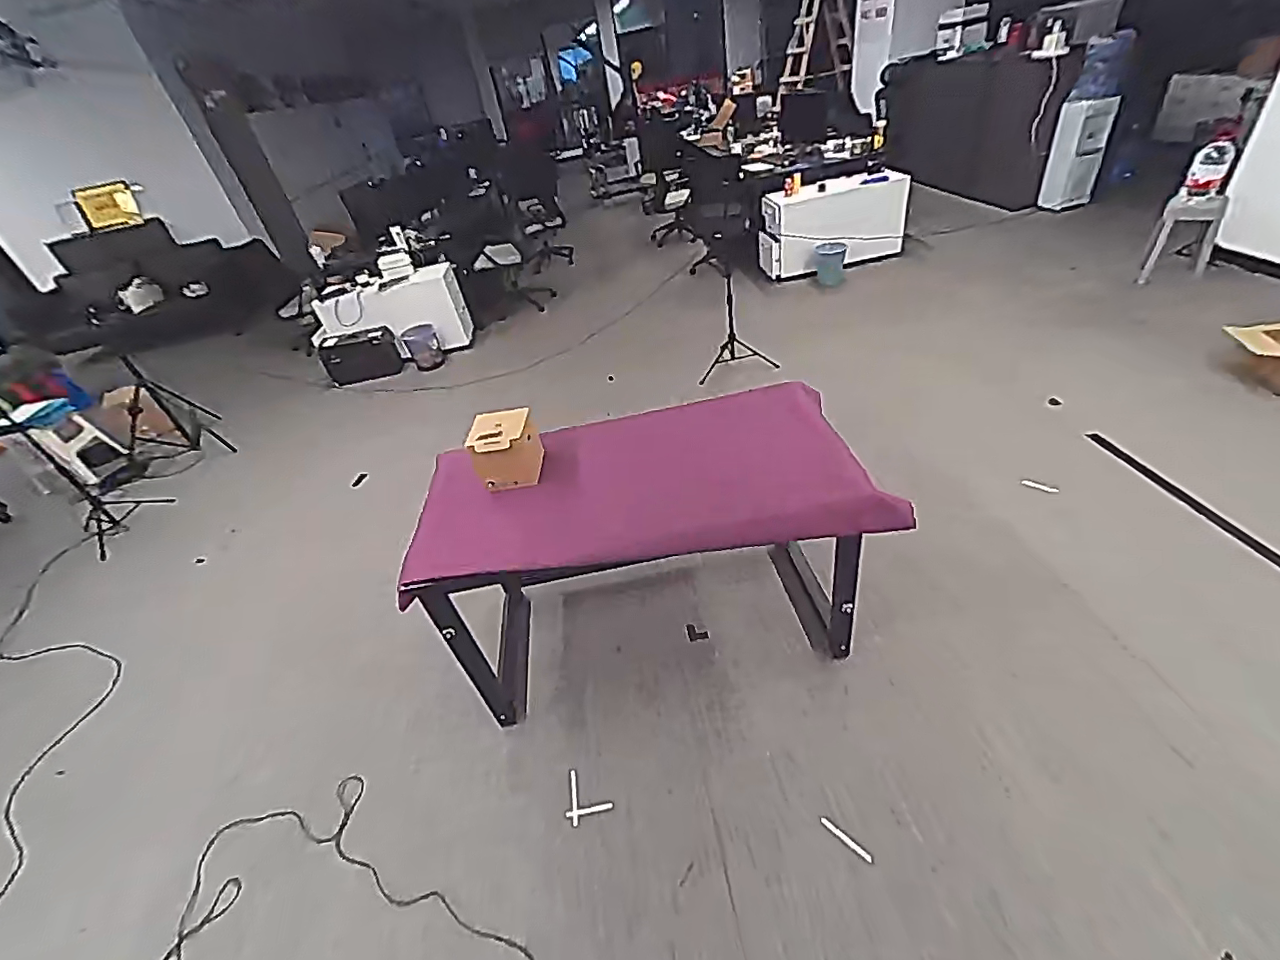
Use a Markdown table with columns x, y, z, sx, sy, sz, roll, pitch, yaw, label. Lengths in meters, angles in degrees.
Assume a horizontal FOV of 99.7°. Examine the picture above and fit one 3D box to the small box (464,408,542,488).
| x | y | z | sx | sy | sz | roll | pitch | yaw | label |
| --- | --- | --- | --- | --- | --- | --- | --- | --- | --- |
| -0.400 | -0.089 | 1.609 | 0.168 | 0.176 | 0.179 | -8 | 38 | 5 | small box |
